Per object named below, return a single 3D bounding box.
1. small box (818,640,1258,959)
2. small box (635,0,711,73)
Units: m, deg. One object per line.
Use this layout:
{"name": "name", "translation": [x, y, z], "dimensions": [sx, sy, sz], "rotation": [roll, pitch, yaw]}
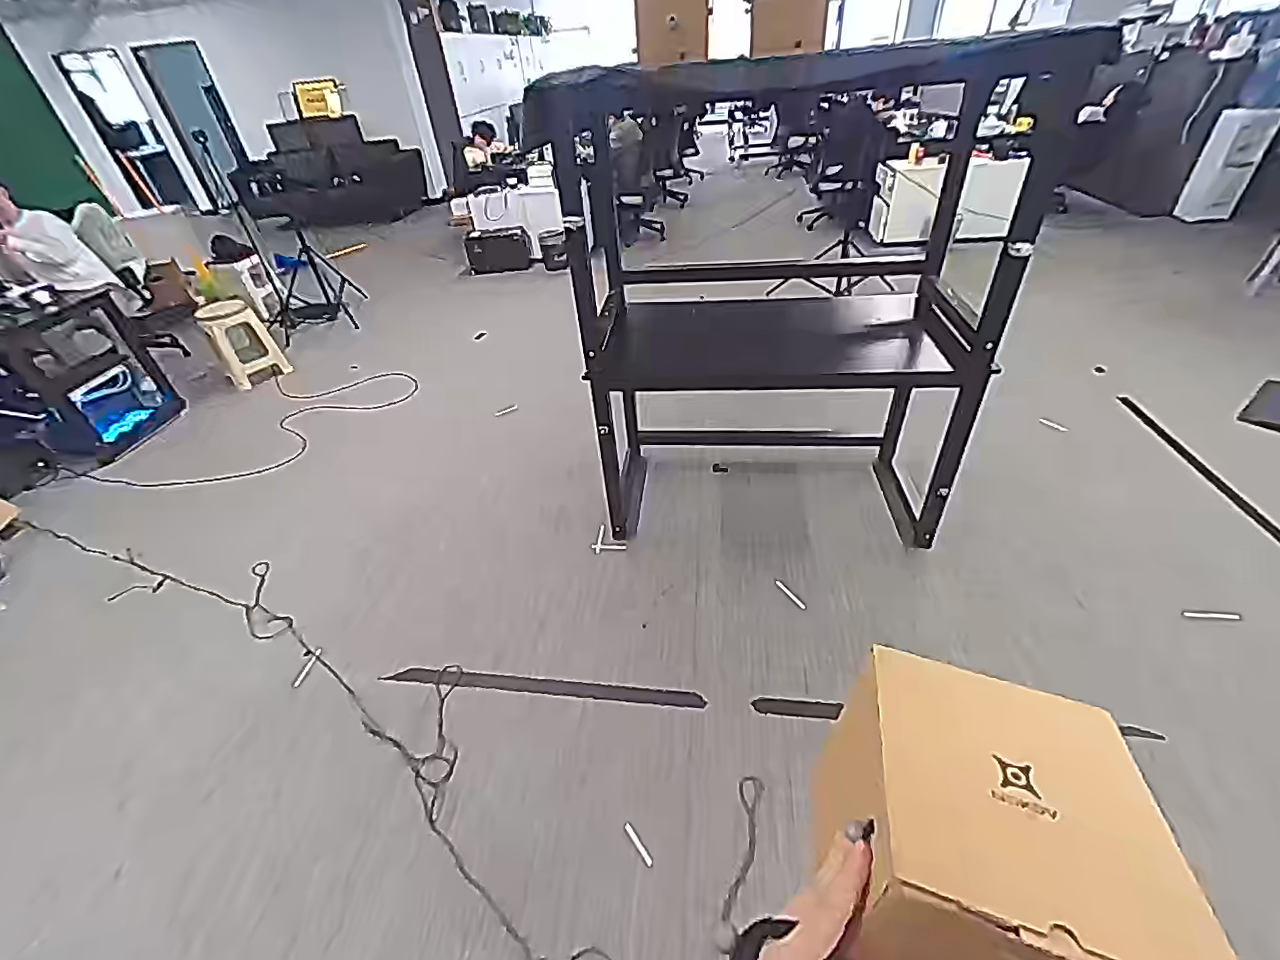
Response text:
{"name": "small box", "translation": [0.225, 0.249, 0.365], "dimensions": [0.168, 0.176, 0.179], "rotation": [14, 31, 12]}
{"name": "small box", "translation": [0.078, -1.055, 1.250], "dimensions": [0.168, 0.176, 0.179], "rotation": [-1, 38, 4]}
